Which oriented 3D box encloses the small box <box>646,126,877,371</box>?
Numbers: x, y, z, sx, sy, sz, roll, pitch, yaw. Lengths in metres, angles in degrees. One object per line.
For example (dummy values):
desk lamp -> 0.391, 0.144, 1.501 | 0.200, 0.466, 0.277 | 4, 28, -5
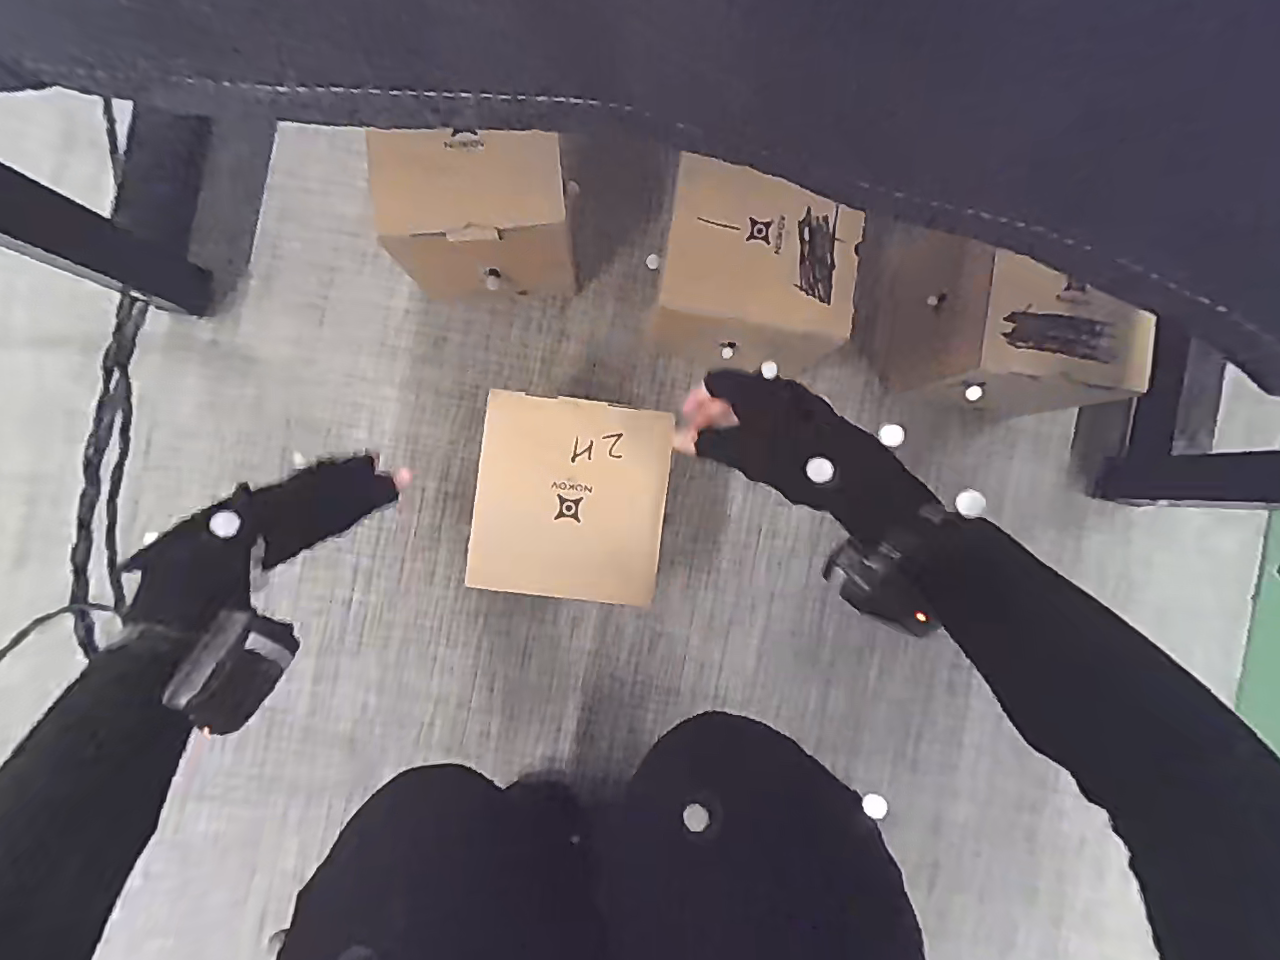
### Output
small box -> 0.109, -0.215, 0.554 | 0.179, 0.176, 0.168 | 9, 90, -4
